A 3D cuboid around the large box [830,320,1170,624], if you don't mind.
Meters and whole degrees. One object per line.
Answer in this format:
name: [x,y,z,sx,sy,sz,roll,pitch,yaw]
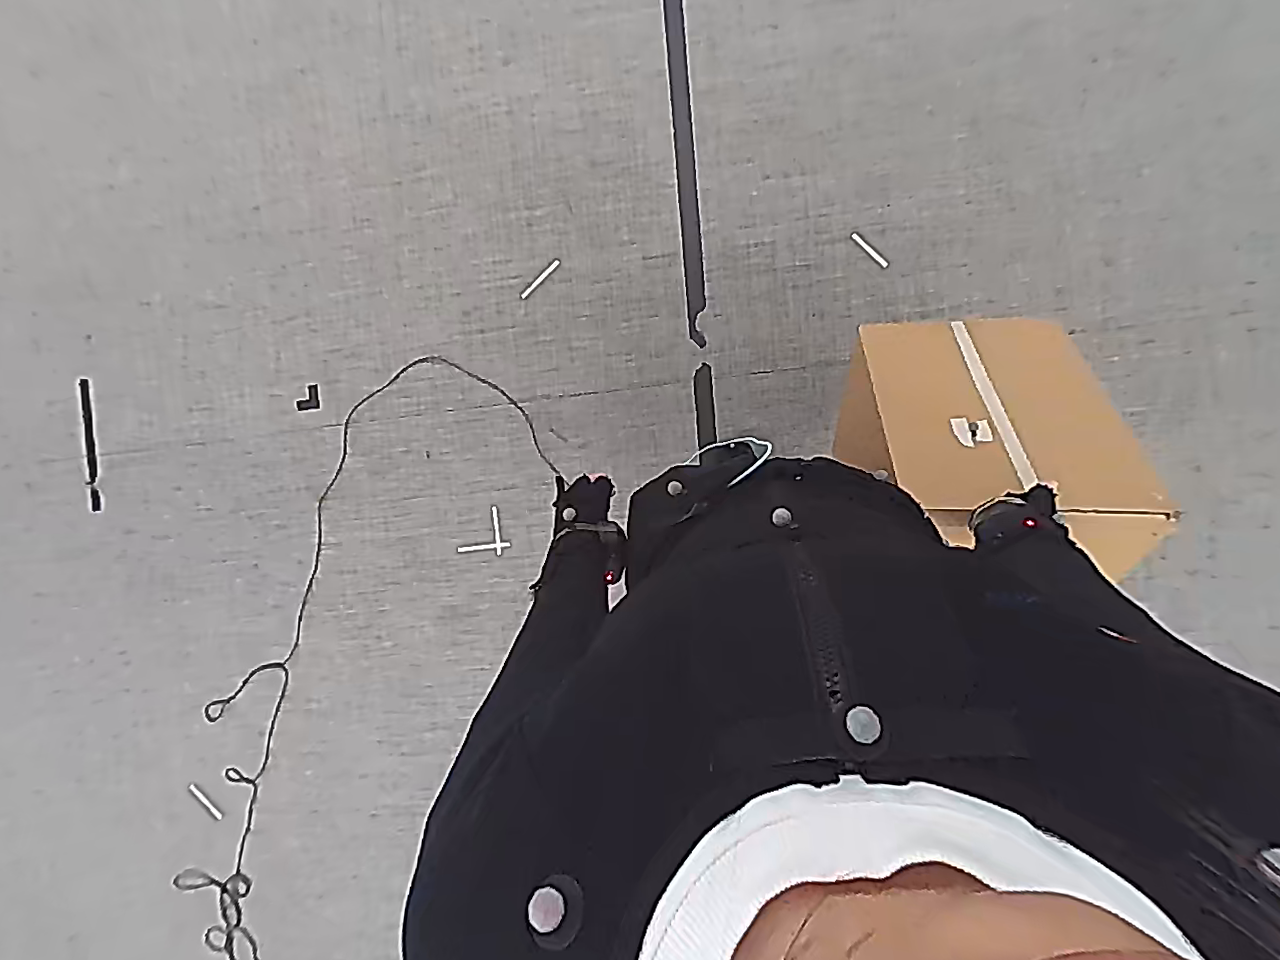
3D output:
large box: [0.517,-0.016,0.900,0.320,0.320,0.408,-1,51,11]
